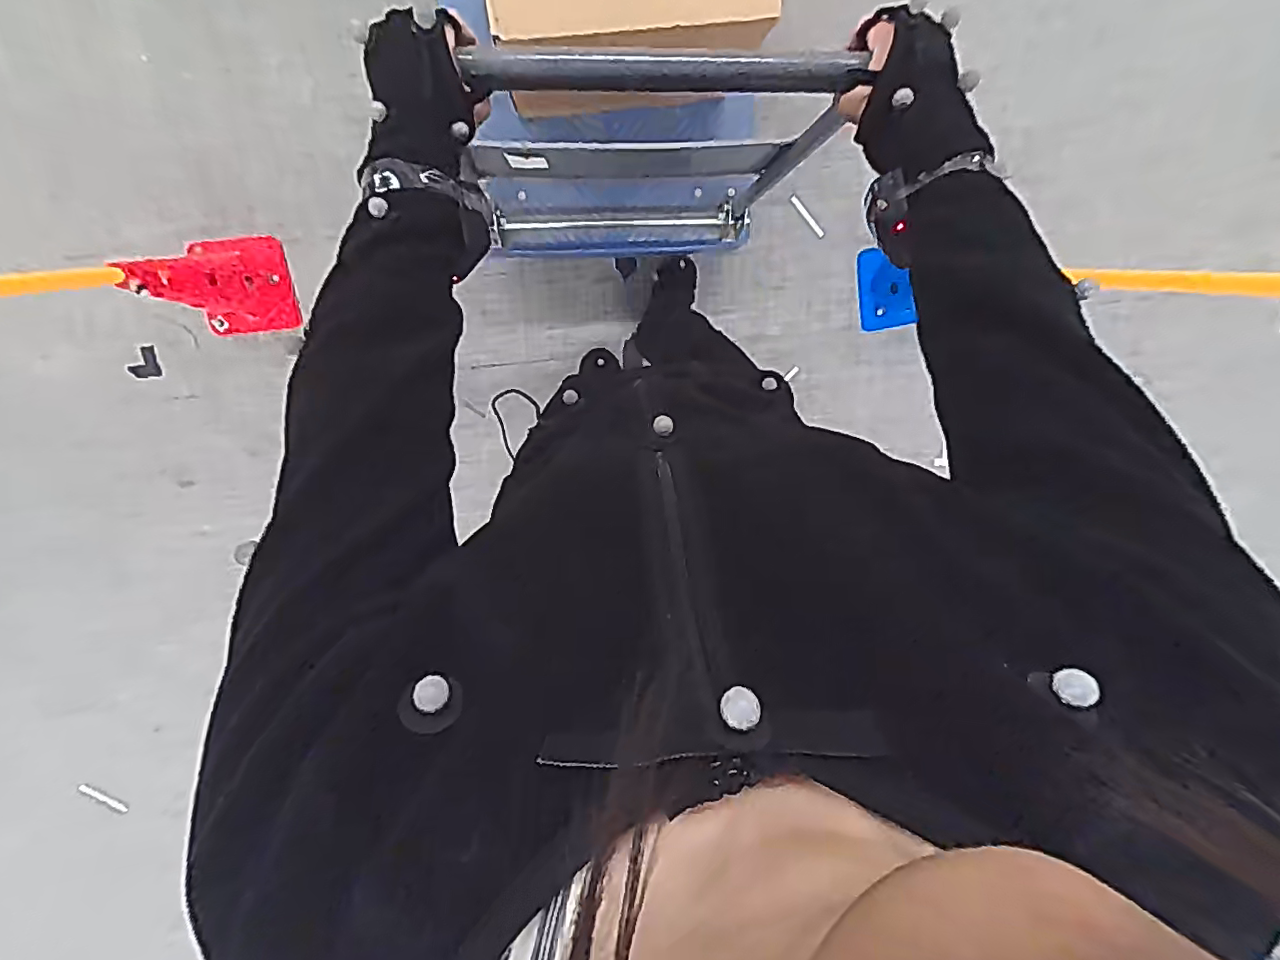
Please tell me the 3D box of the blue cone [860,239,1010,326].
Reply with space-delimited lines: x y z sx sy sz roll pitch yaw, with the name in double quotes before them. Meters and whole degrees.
"blue cone" 0.667 -0.450 1.203 0.193 0.380 0.192 -10 106 -4
